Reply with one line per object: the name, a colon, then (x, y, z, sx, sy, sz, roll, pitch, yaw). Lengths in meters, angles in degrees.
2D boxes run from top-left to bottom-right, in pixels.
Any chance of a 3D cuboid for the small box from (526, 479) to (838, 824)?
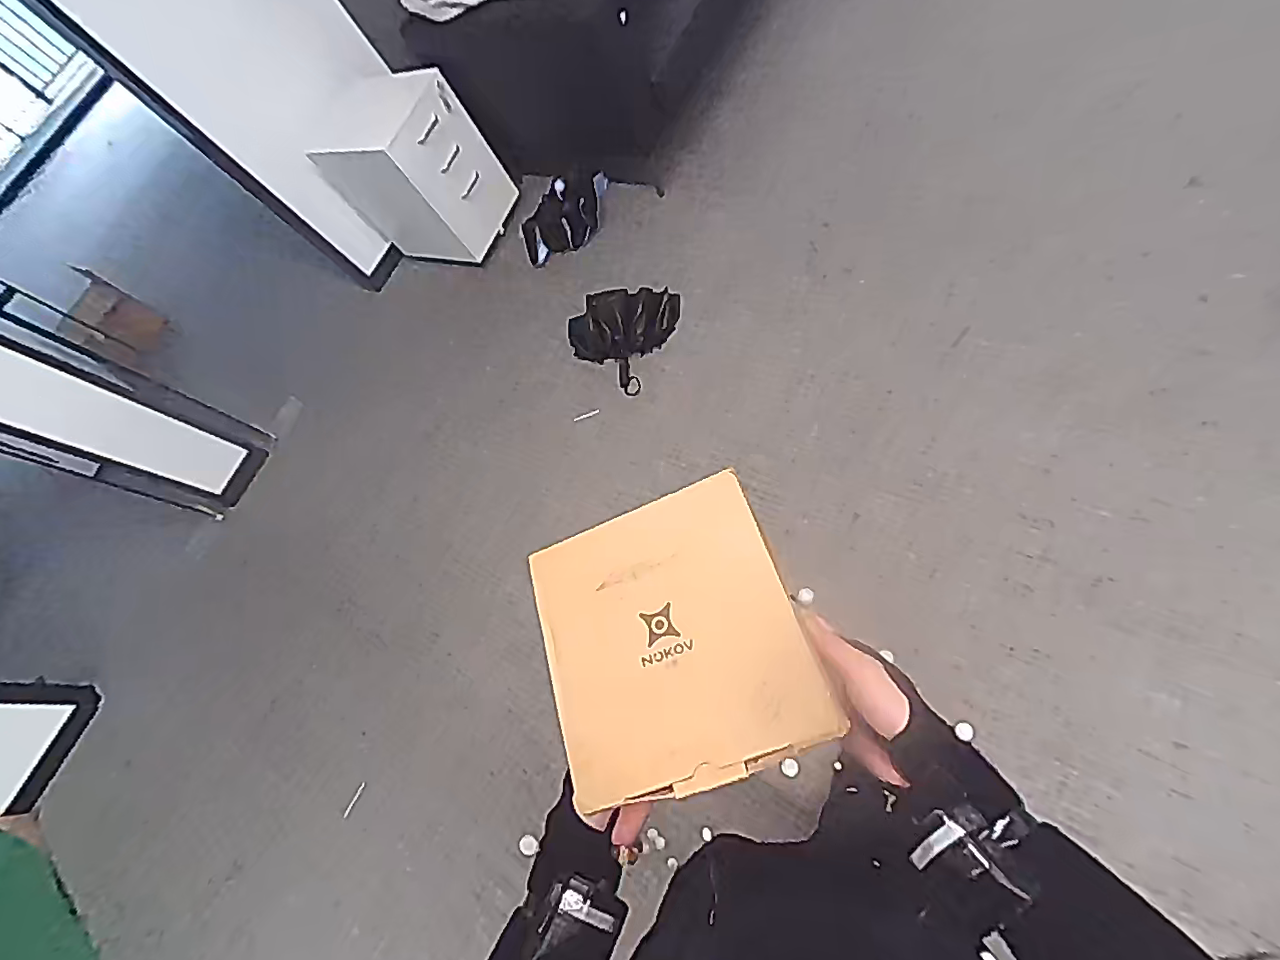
small box: (0.039, 0.131, 0.417, 0.168, 0.176, 0.179, -25, 60, 10)
